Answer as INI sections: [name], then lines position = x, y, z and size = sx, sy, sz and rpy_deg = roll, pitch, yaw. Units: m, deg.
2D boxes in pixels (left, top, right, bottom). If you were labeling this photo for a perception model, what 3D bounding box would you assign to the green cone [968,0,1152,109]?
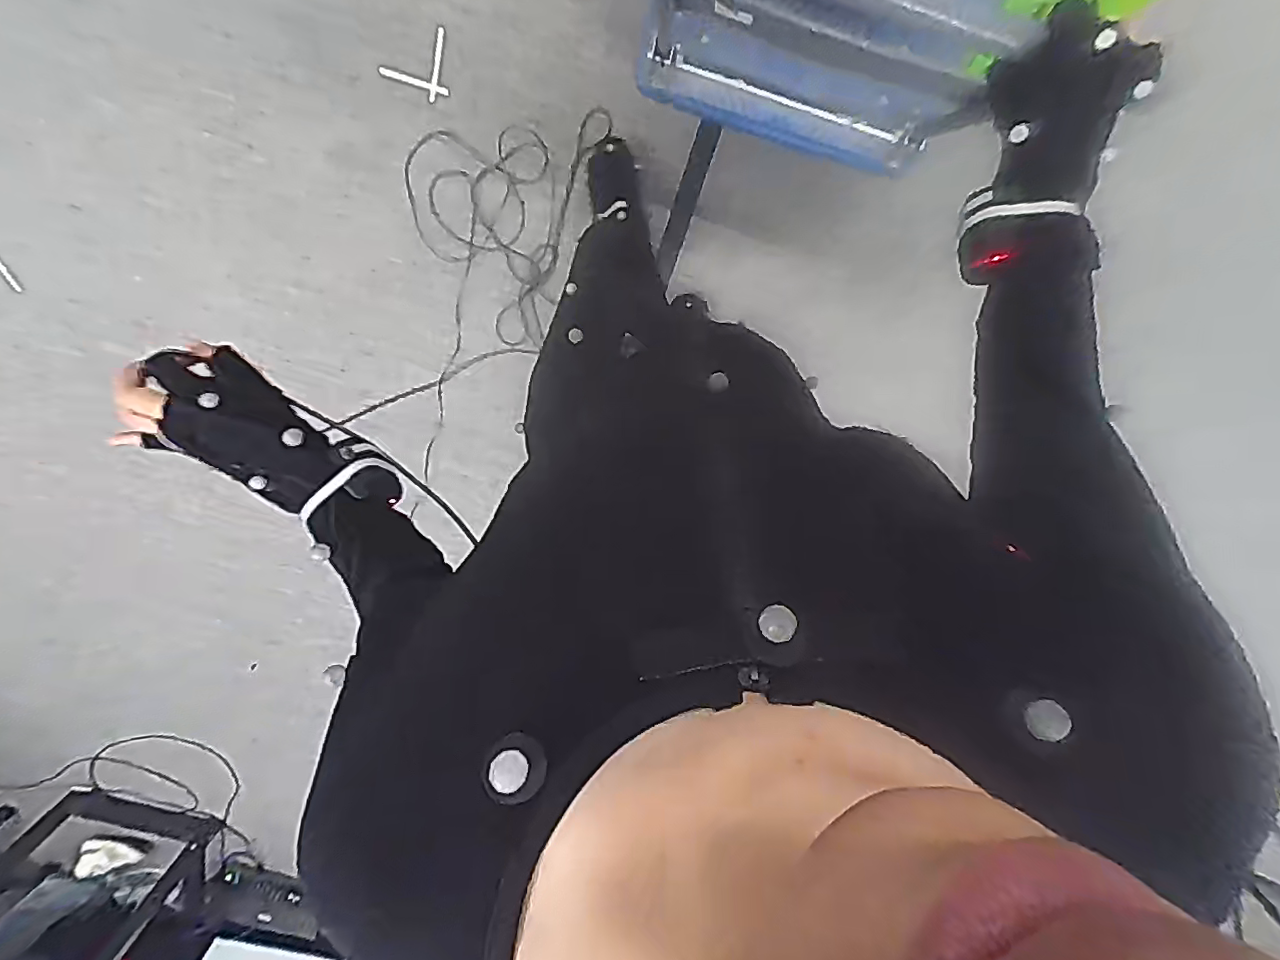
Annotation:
[green cone]
position = 0.797, -0.832, 0.947
size = 0.202, 0.368, 0.200
rpy_deg = 20, 113, -8
